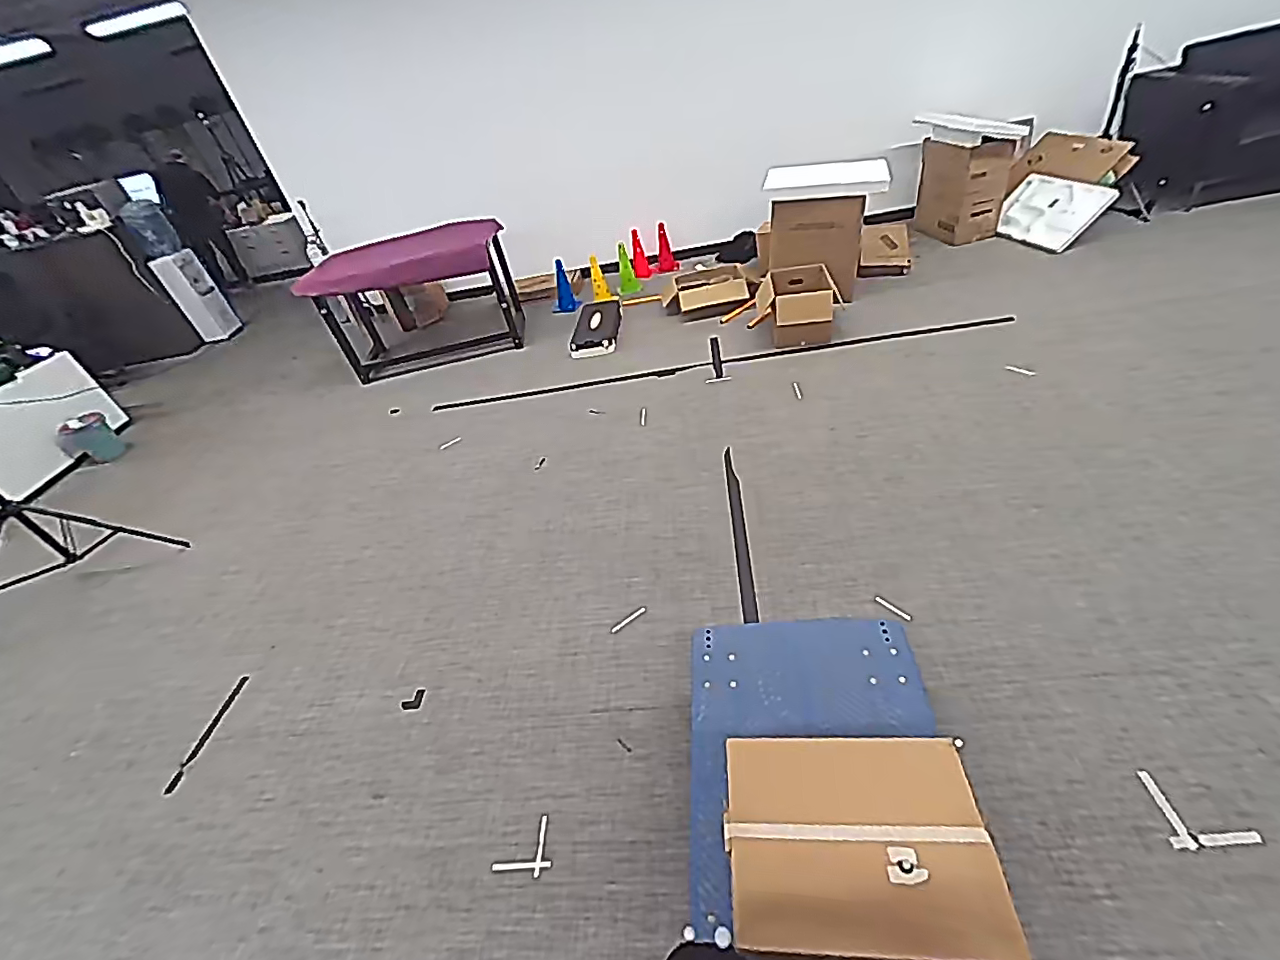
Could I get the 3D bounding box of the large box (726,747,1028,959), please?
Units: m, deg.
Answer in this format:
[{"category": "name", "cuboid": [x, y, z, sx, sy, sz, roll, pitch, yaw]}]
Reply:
[{"category": "large box", "cuboid": [0.370, 0.704, 0.968, 0.408, 0.320, 0.320, -4, 40, 9]}]
